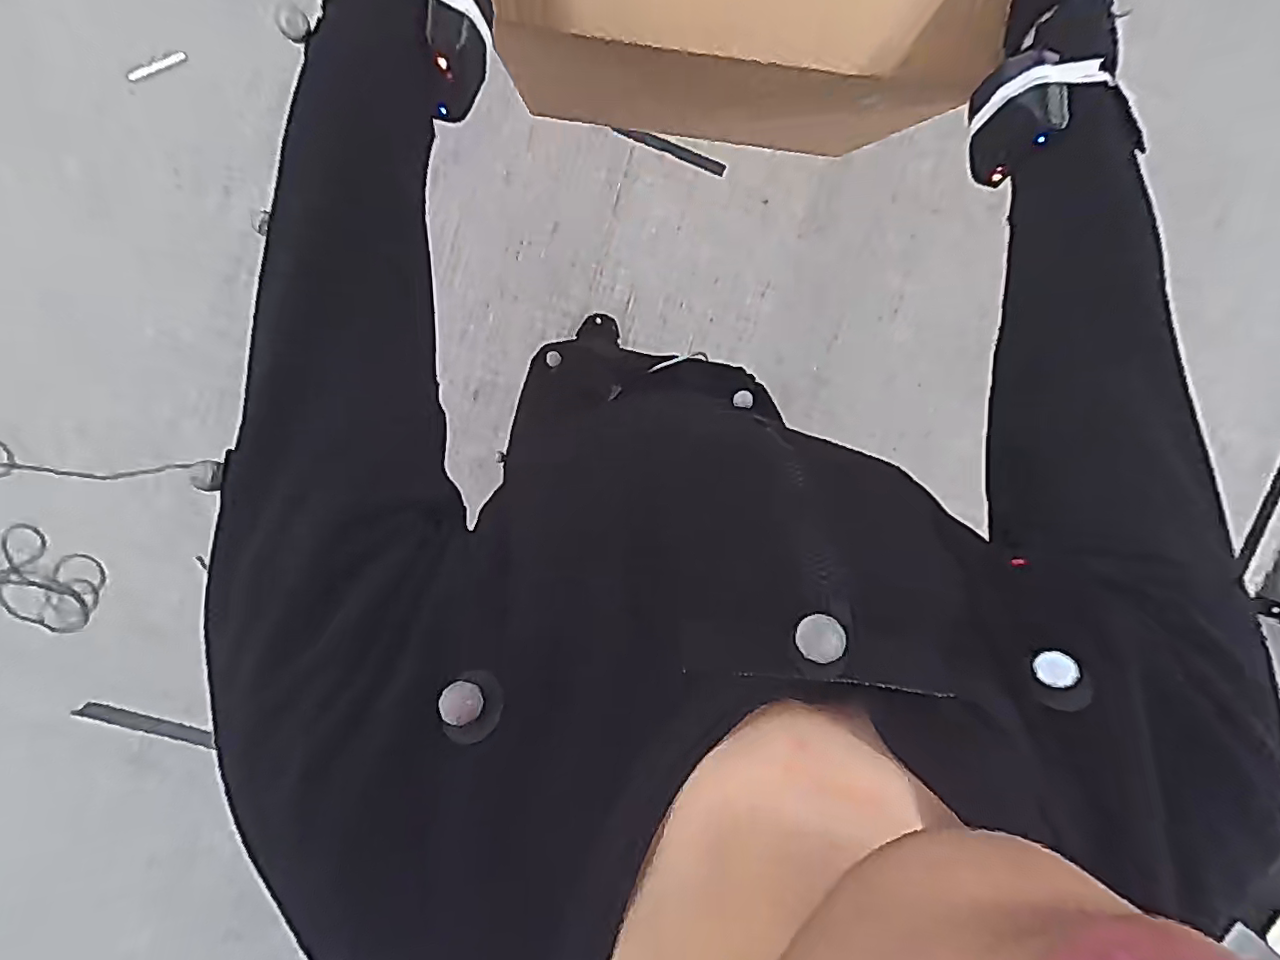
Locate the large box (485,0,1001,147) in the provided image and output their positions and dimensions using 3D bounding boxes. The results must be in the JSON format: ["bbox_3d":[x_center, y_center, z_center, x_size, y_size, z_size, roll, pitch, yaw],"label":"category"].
[{"bbox_3d":[0.083,-0.533,0.501,0.408,0.320,0.320,4,113,-6],"label":"large box"}]
